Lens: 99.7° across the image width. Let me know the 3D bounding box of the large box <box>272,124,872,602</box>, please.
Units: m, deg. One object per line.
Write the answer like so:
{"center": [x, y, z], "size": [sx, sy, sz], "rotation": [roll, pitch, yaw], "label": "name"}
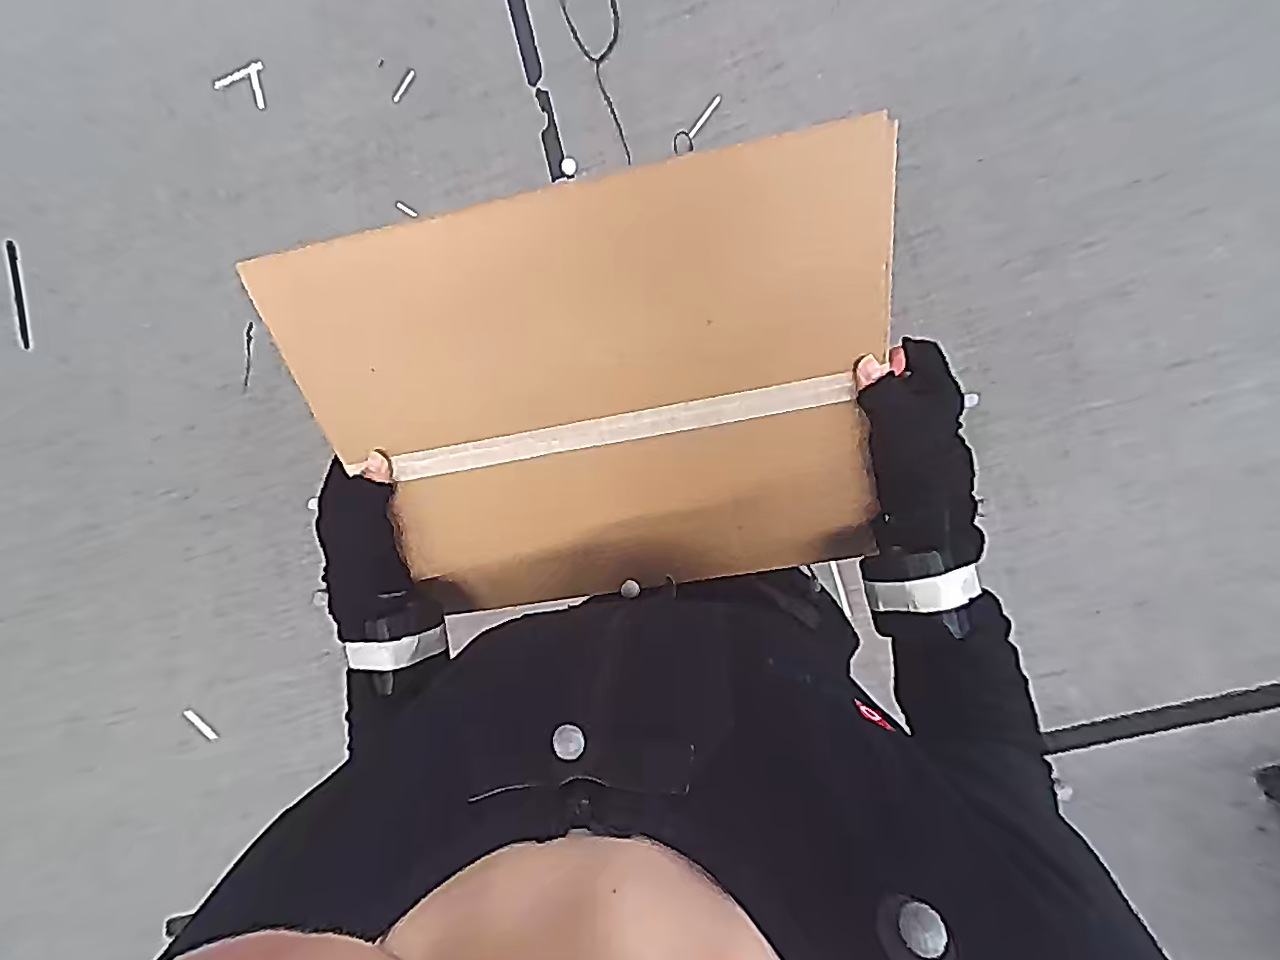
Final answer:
{"center": [-0.023, -0.123, 0.540], "size": [0.408, 0.320, 0.320], "rotation": [-10, 120, 7], "label": "large box"}
